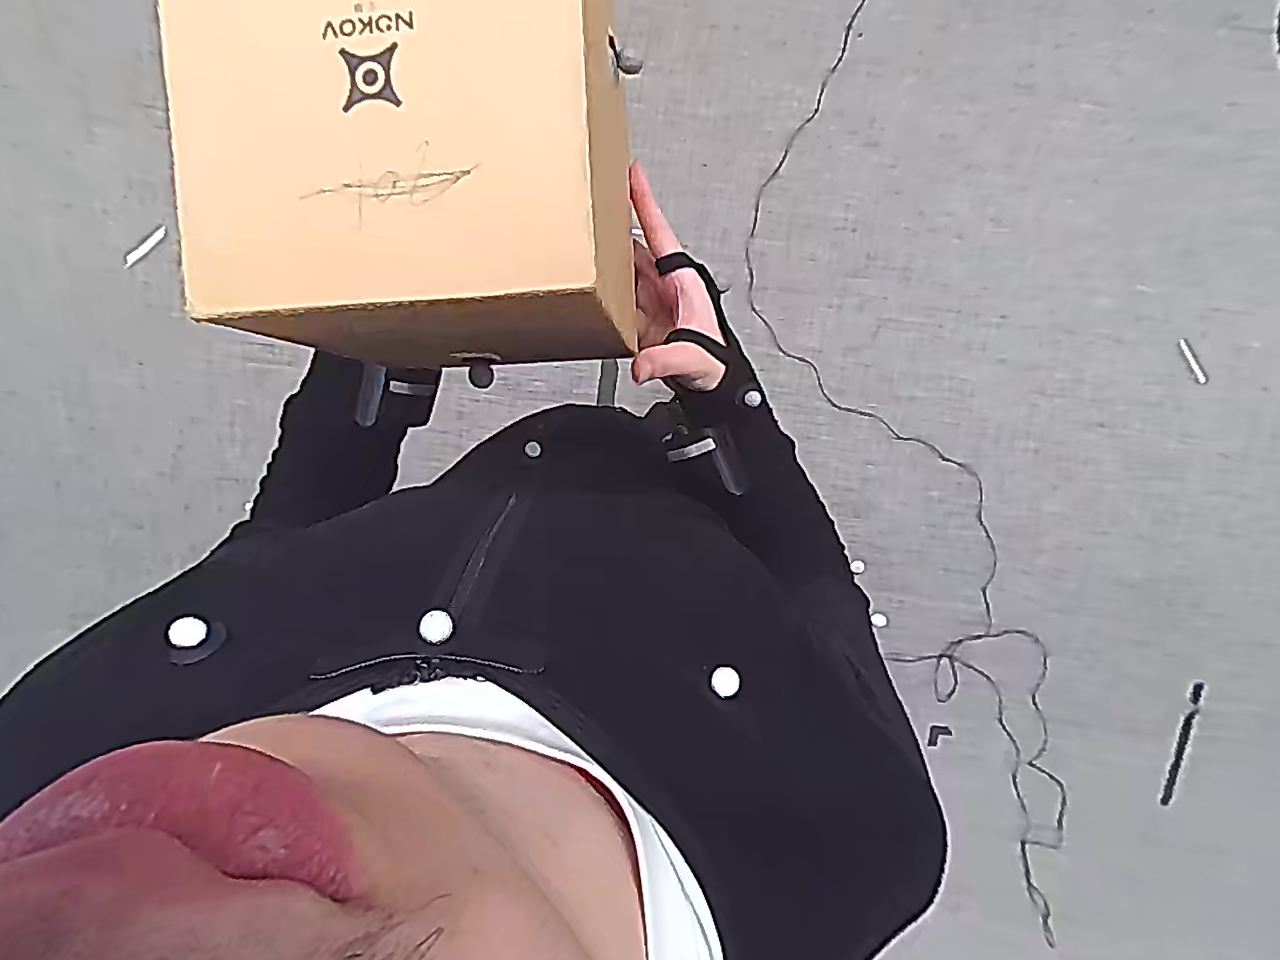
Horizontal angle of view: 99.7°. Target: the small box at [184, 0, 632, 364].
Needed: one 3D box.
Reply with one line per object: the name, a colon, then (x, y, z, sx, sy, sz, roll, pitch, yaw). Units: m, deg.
small box: (-0.094, -0.165, 0.294, 0.168, 0.176, 0.179, -2, 95, 5)
